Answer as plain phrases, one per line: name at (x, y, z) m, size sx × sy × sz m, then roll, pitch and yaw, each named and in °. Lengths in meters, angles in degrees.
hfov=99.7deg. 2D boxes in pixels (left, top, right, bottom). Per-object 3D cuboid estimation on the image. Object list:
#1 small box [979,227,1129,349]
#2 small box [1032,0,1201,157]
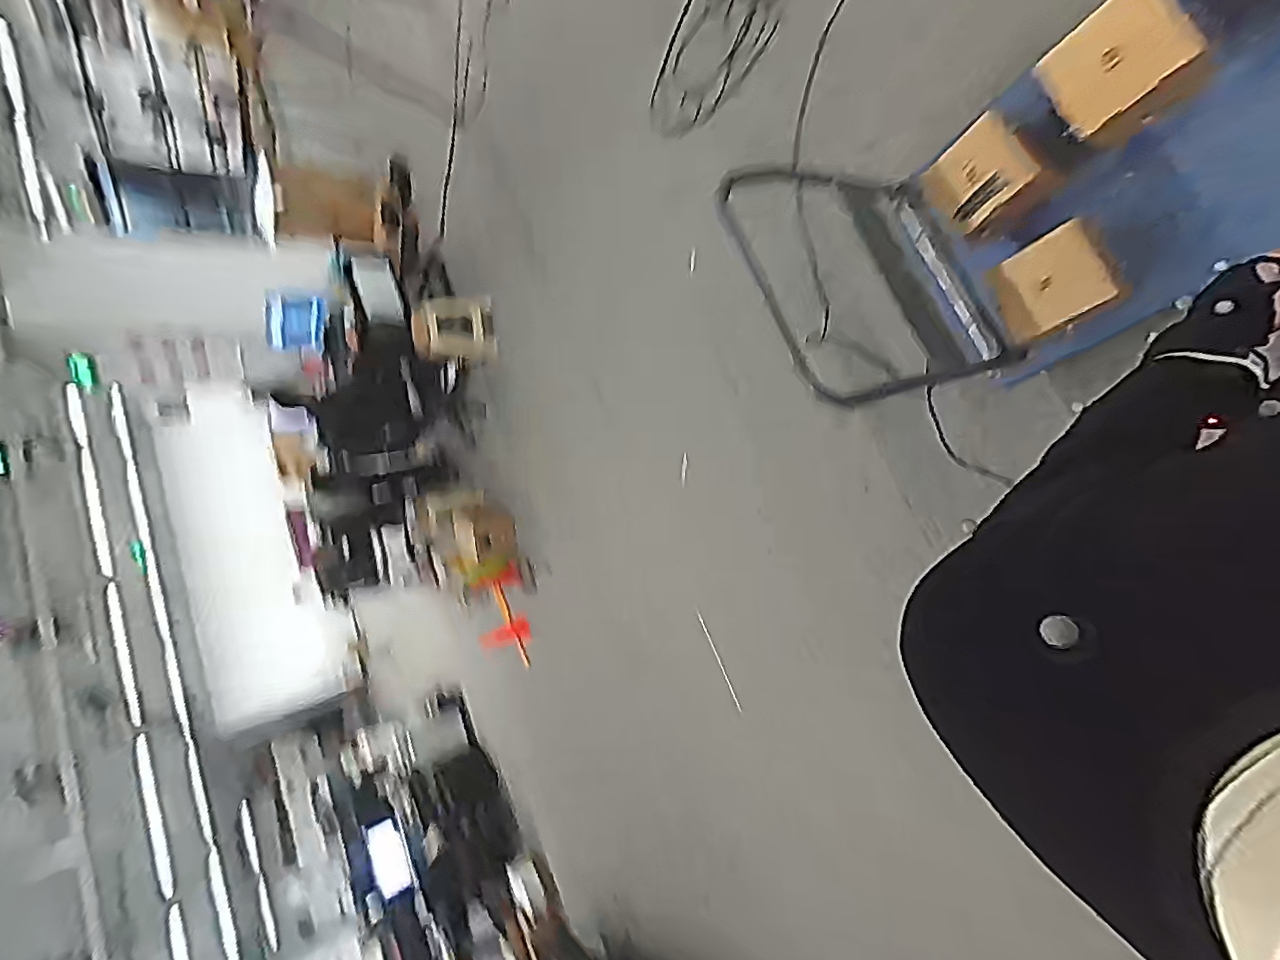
small box at (0.852, -0.386, 1.114) m, size 0.179 × 0.176 × 0.168 m, roll -33°, pitch 75°, yaw 50°
small box at (0.871, -0.730, 0.990) m, size 0.168 × 0.176 × 0.179 m, roll -37°, pitch 73°, yaw 50°
